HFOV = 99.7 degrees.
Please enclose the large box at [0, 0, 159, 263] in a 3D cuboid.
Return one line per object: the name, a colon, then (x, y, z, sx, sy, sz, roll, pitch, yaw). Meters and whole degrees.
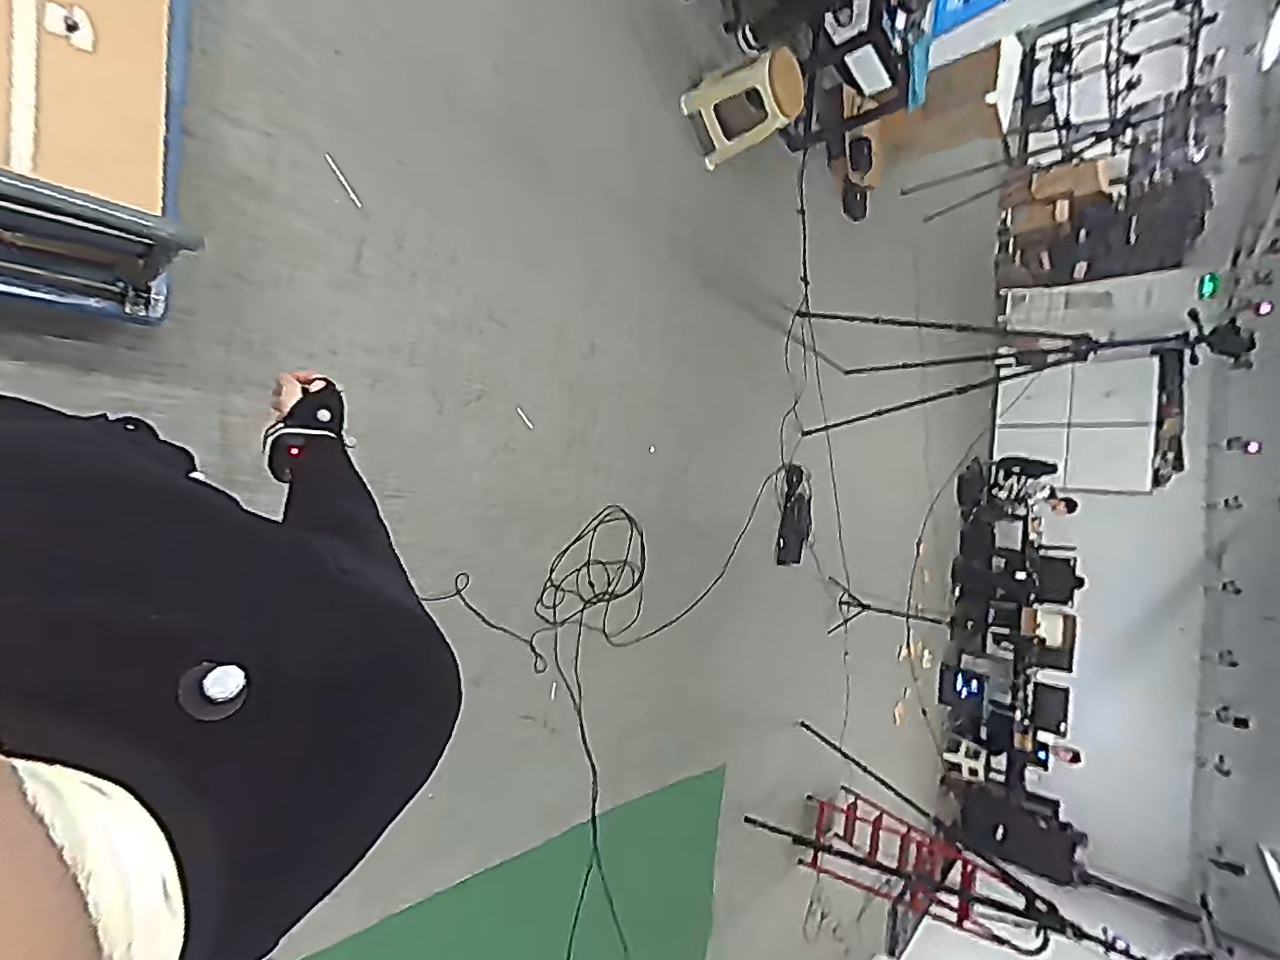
large box: (-1.003, -0.622, 0.871, 0.320, 0.320, 0.408, 1, 91, -48)
